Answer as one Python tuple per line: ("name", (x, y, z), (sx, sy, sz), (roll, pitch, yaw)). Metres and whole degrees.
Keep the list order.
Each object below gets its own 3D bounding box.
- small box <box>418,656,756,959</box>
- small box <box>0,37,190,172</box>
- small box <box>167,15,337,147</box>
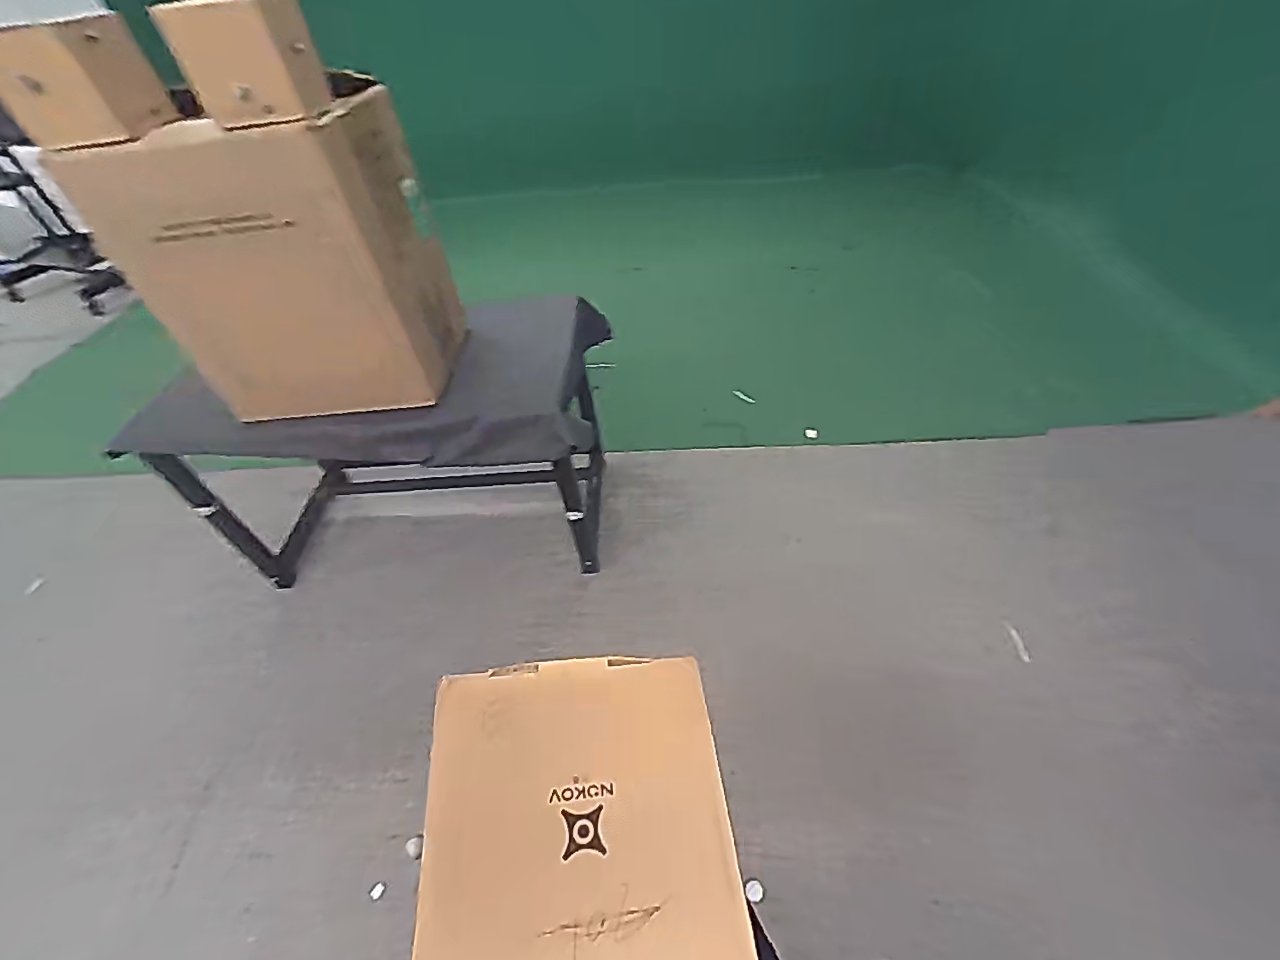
("small box", (-0.044, 0.239, 0.358), (0.168, 0.176, 0.179), (-3, 52, -12))
("small box", (-1.017, -0.697, 1.010), (0.179, 0.176, 0.168), (-6, 46, 5))
("small box", (-0.693, -0.732, 0.995), (0.168, 0.176, 0.179), (-8, 46, -1))
